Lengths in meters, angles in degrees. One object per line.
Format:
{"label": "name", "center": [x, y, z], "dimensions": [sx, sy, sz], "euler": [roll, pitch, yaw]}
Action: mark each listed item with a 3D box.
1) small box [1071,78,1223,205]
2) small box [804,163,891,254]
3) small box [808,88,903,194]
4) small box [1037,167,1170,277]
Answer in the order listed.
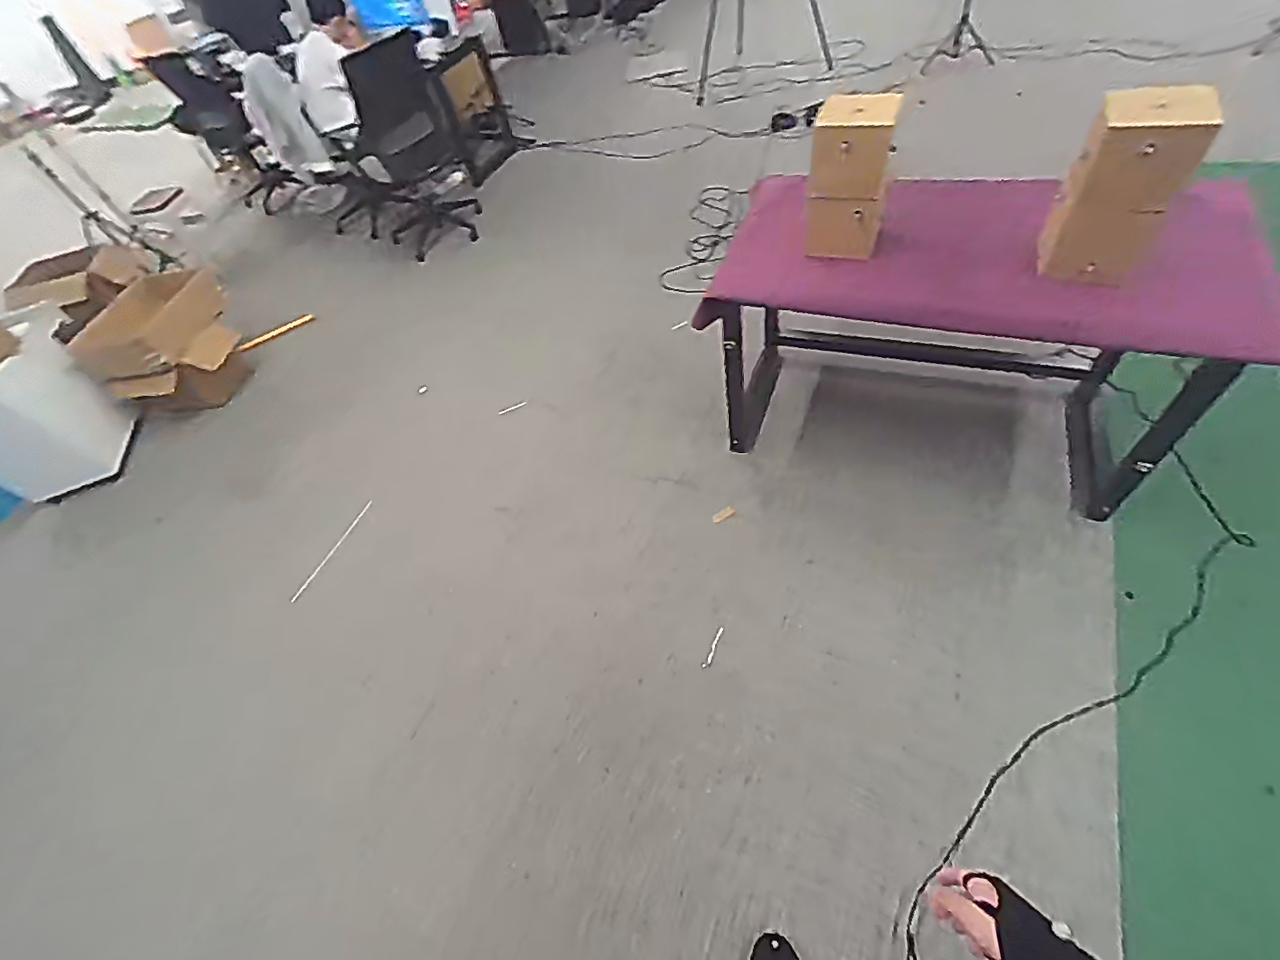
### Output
{"label": "small box", "center": [1.008, -0.679, 1.095], "dimensions": [0.179, 0.176, 0.168], "euler": [14, 59, 22]}
{"label": "small box", "center": [0.549, -0.726, 1.445], "dimensions": [0.179, 0.176, 0.168], "euler": [14, 58, 22]}
{"label": "small box", "center": [0.519, -0.818, 1.315], "dimensions": [0.179, 0.176, 0.168], "euler": [14, 59, 22]}
{"label": "small box", "center": [1.038, -0.582, 1.224], "dimensions": [0.179, 0.176, 0.168], "euler": [13, 57, 21]}
